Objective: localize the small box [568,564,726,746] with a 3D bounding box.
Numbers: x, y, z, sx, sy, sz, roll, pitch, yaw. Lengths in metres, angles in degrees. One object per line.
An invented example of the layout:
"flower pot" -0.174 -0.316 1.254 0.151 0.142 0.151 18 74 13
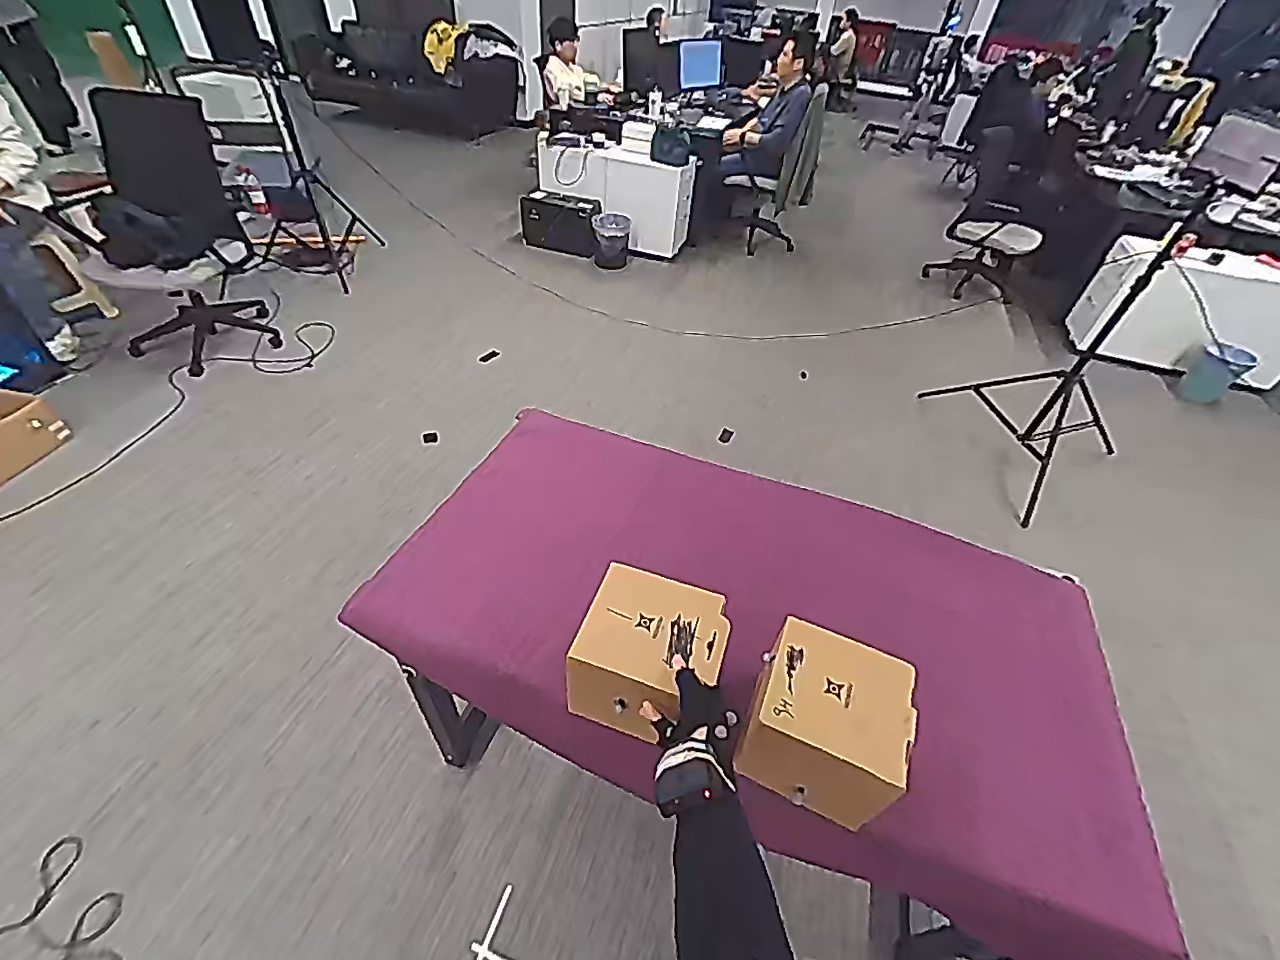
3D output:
"small box" 0.010 0.256 0.783 0.179 0.176 0.168 15 43 12

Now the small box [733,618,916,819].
"small box" 0.246 0.327 0.735 0.179 0.176 0.168 21 44 14
